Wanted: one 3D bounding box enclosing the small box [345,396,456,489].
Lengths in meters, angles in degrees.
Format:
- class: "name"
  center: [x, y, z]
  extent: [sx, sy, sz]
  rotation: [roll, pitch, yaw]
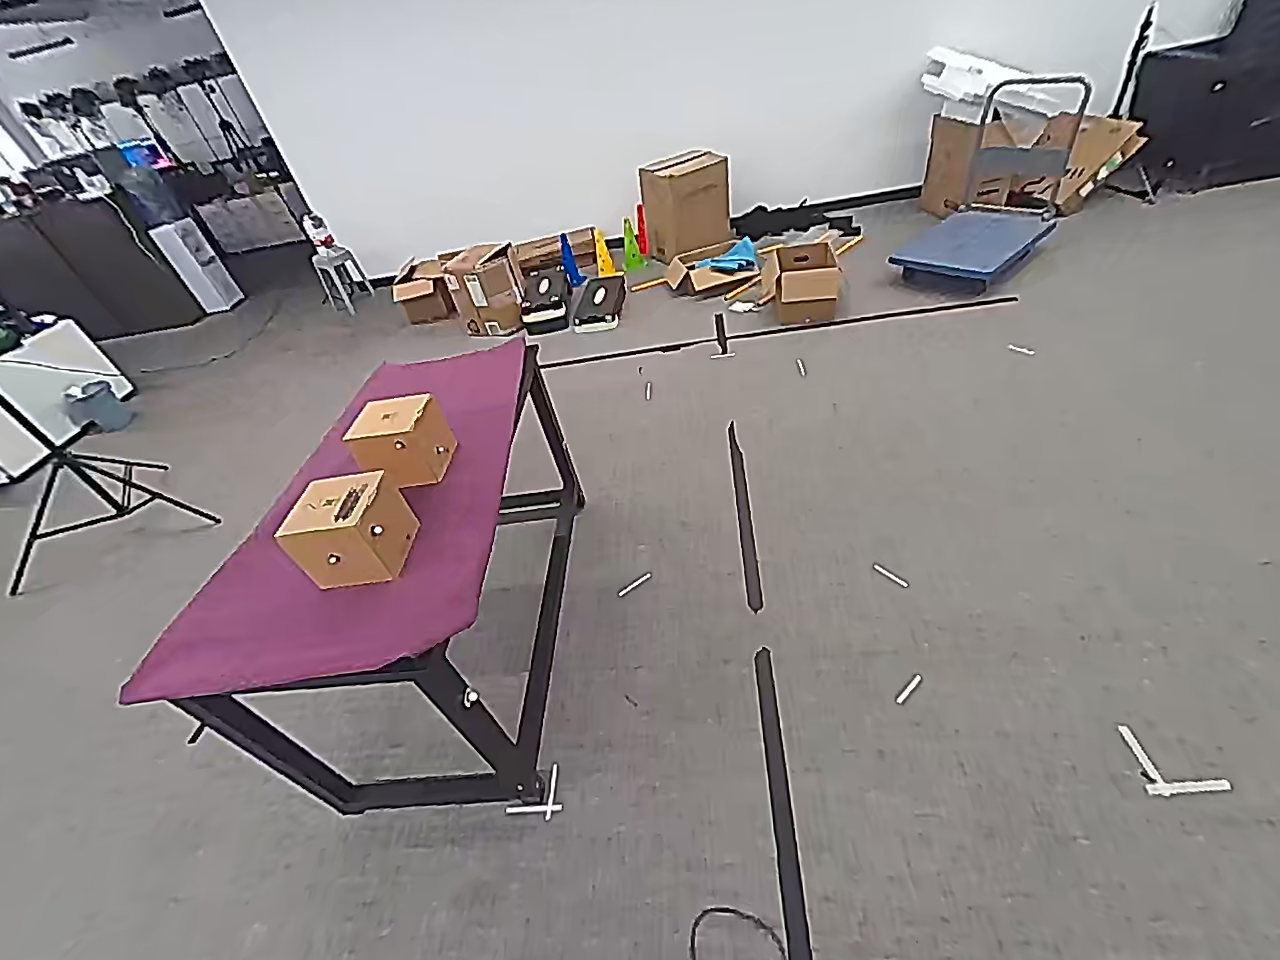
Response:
- class: "small box"
  center: [-0.600, -0.092, 1.379]
  extent: [0.179, 0.176, 0.168]
  rotation: [-7, 41, 7]
